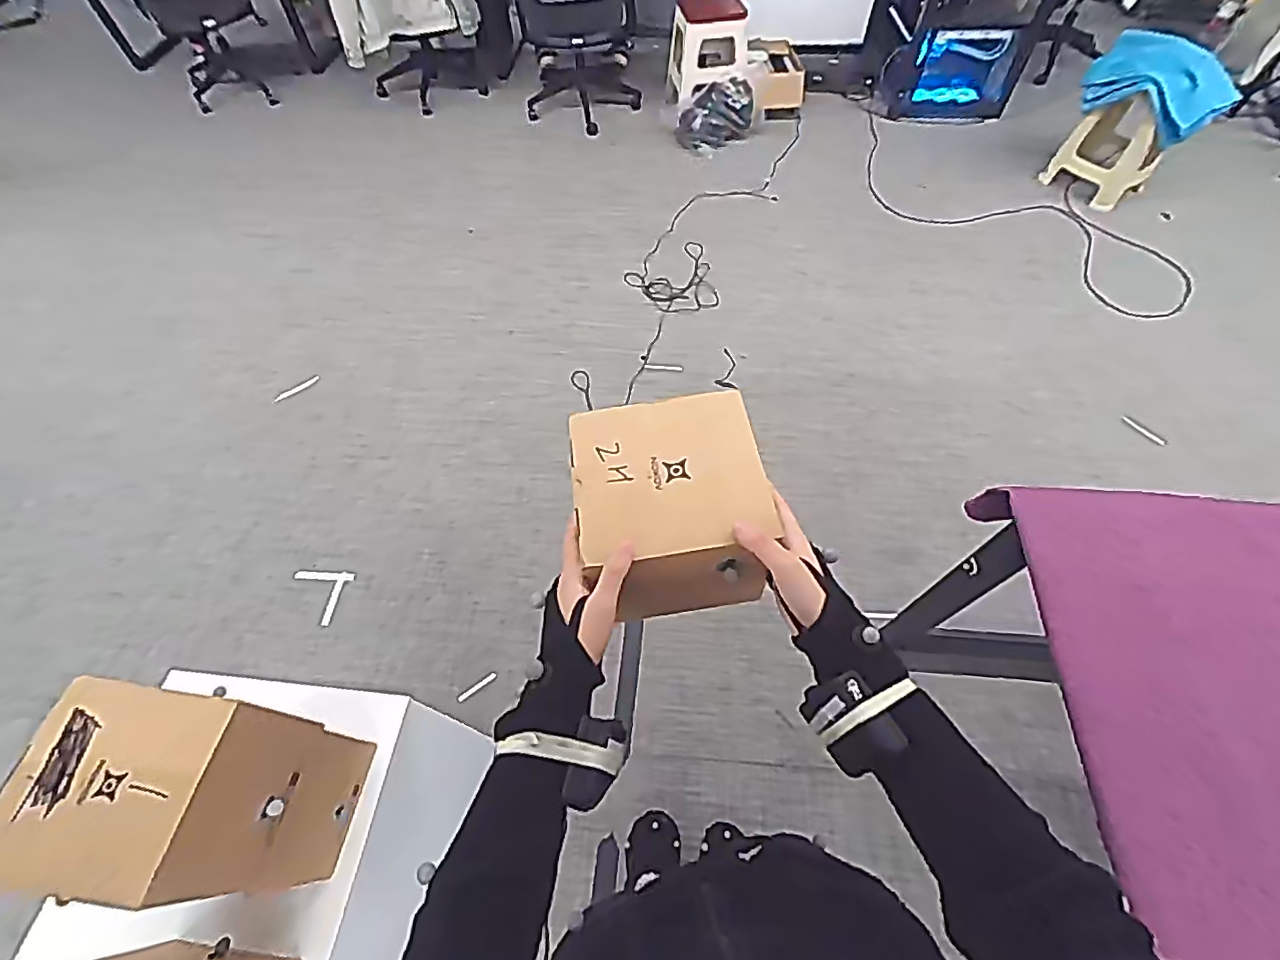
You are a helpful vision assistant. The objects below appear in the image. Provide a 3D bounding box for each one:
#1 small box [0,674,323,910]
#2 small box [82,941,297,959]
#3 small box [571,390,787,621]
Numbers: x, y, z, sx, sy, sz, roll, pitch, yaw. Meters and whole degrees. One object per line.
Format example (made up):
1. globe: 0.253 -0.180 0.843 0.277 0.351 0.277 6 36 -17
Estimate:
1. small box: -0.476 0.312 0.553 0.179 0.176 0.168 7 59 4
2. small box: -0.508 0.608 0.562 0.179 0.176 0.168 4 59 6
3. small box: 0.033 0.033 0.557 0.179 0.176 0.168 -9 58 0
